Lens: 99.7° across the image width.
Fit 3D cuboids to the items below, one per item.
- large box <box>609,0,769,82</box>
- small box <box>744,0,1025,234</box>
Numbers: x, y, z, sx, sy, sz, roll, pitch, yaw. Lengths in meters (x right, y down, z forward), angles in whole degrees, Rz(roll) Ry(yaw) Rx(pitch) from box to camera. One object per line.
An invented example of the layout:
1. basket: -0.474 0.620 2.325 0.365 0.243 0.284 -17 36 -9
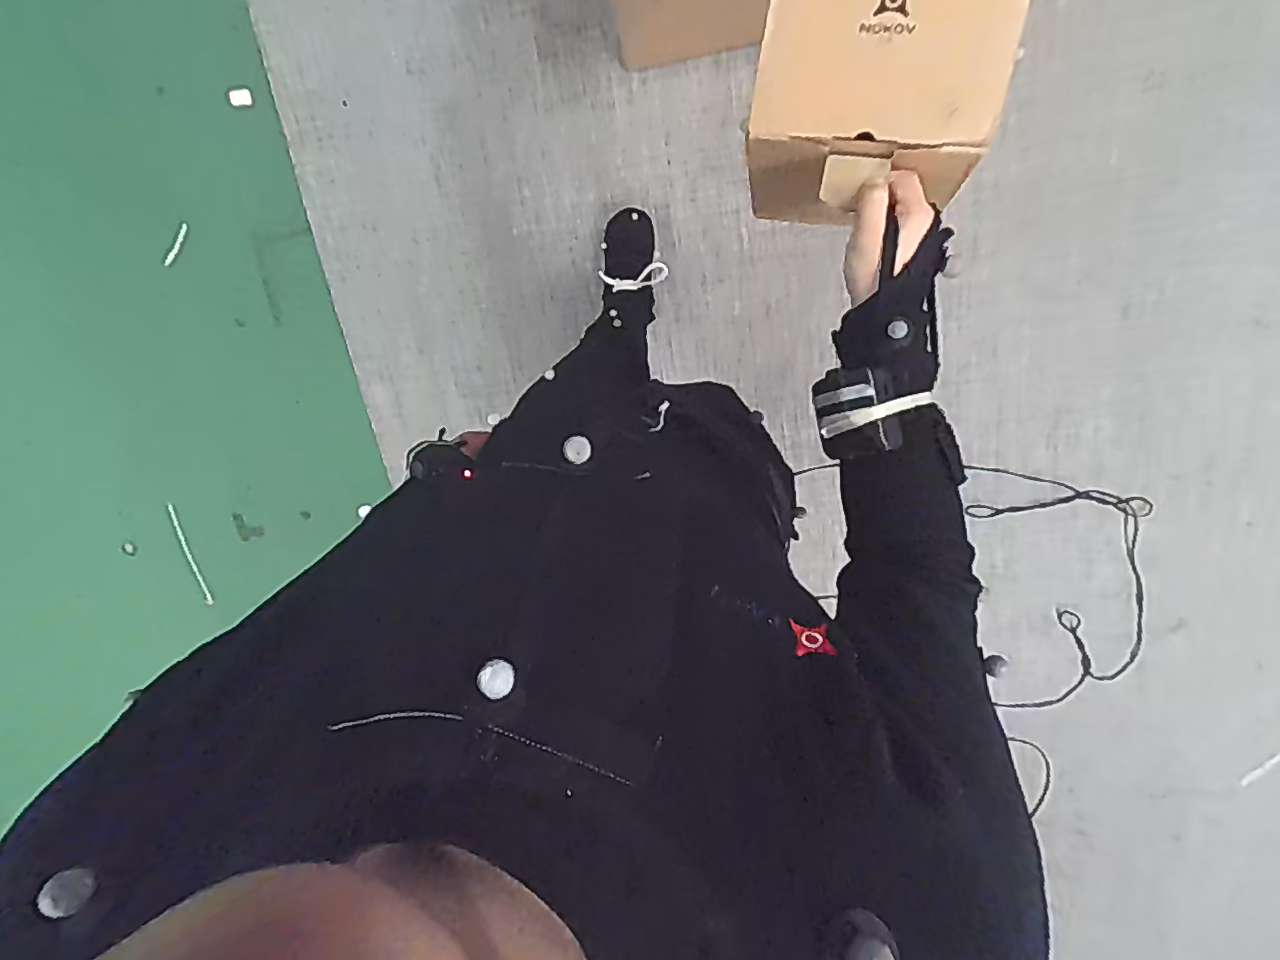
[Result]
1. large box: 0.128 -0.944 0.905 0.408 0.320 0.320 -9 107 6
2. small box: 0.187 -0.320 0.442 0.168 0.176 0.179 11 97 12
